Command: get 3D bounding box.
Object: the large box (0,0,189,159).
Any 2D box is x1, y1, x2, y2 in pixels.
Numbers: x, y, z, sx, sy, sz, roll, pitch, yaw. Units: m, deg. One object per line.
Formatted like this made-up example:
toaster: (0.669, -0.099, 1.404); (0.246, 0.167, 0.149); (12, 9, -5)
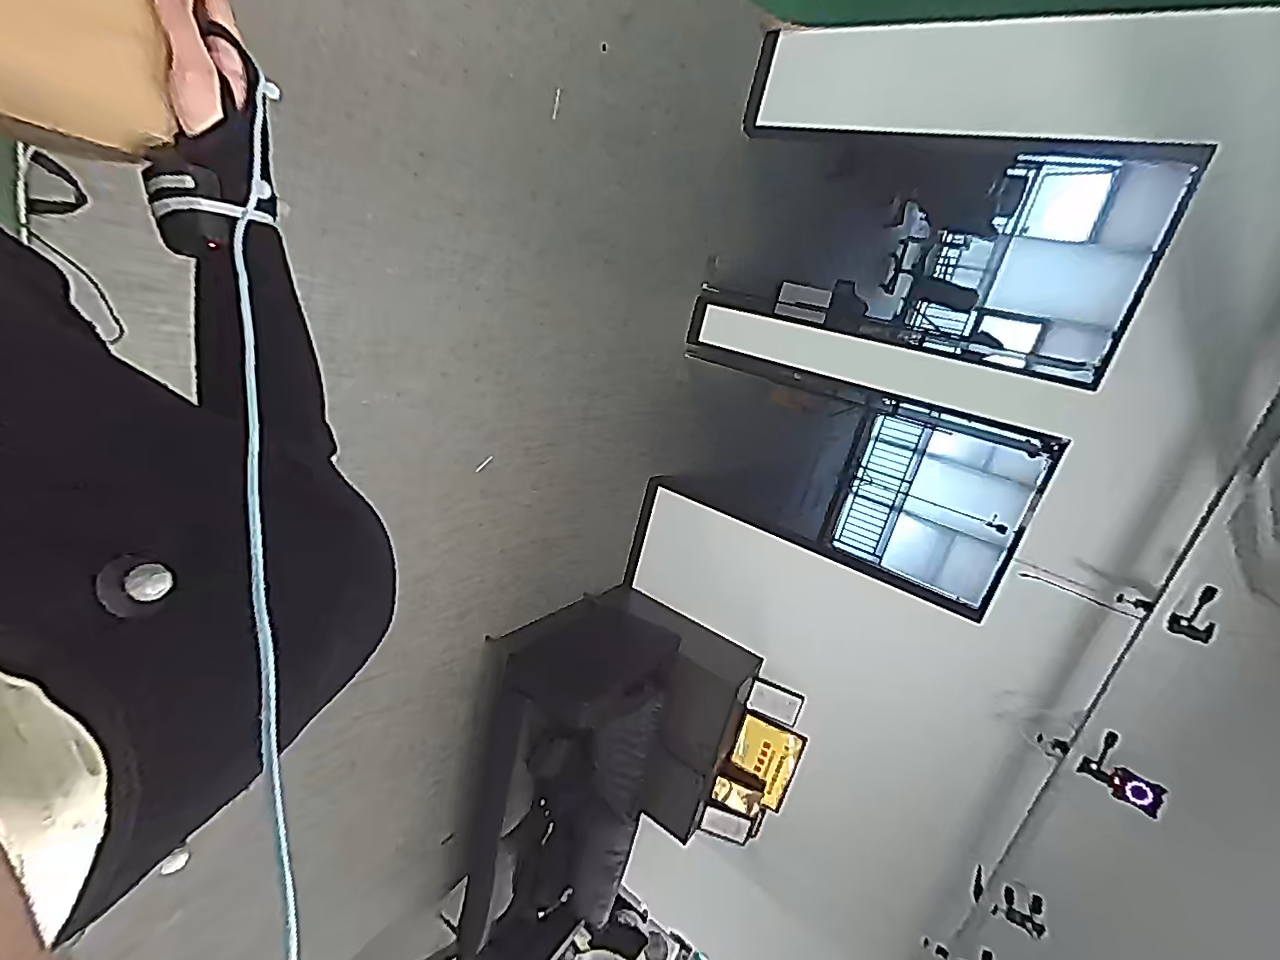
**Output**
large box: (-0.586, -0.440, 0.336); (0.408, 0.320, 0.320); (-9, 116, -54)
